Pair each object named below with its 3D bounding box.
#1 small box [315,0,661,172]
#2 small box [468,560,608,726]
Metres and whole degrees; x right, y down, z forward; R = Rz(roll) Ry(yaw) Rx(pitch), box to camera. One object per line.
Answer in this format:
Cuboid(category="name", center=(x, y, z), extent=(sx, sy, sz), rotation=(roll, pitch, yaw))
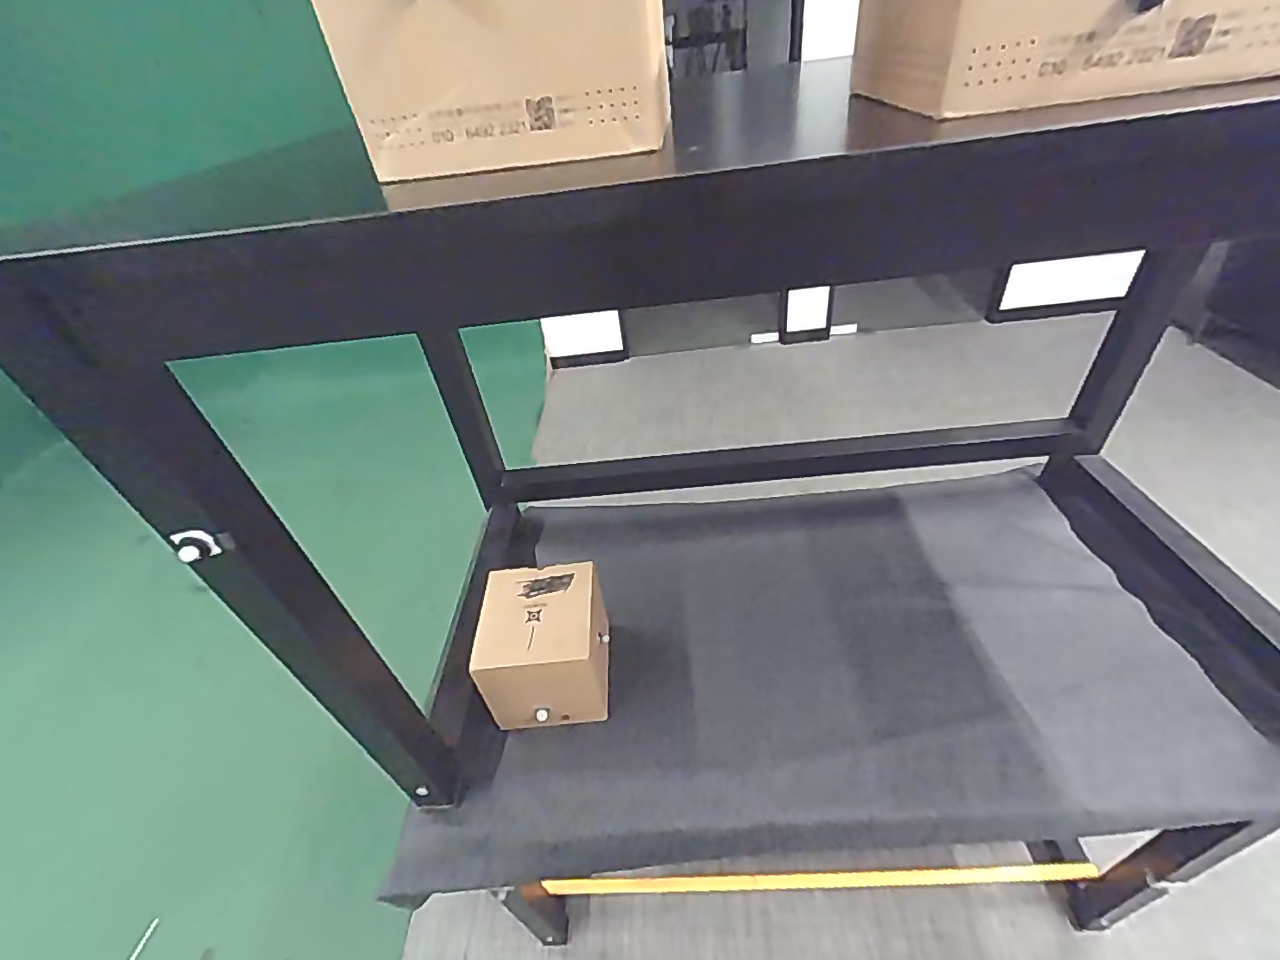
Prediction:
Cuboid(category="small box", center=(-0.078, -0.295, 0.323), extent=(0.168, 0.176, 0.179), rotation=(-2, 38, 7))
Cuboid(category="small box", center=(-0.142, 0.248, 0.828), extent=(0.168, 0.176, 0.179), rotation=(-6, 39, 2))
